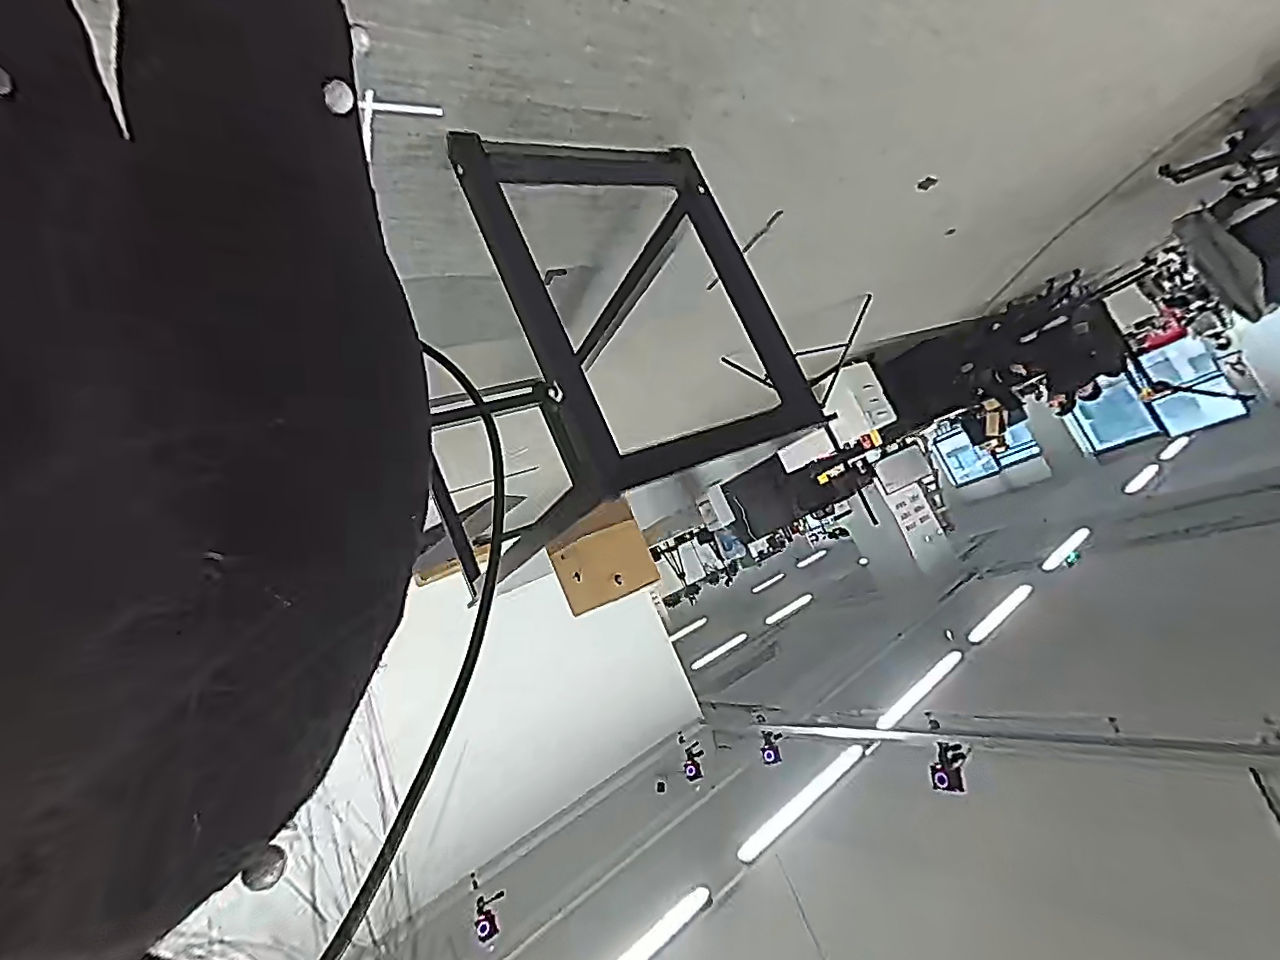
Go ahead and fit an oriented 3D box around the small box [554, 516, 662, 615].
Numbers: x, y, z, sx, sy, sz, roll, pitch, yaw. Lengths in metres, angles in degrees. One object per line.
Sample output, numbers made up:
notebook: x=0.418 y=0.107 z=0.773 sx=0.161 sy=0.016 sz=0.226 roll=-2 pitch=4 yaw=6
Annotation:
small box: x=-0.085 y=0.208 z=1.340 sx=0.179 sy=0.176 sz=0.168 roll=-18 pitch=169 yaw=-44
